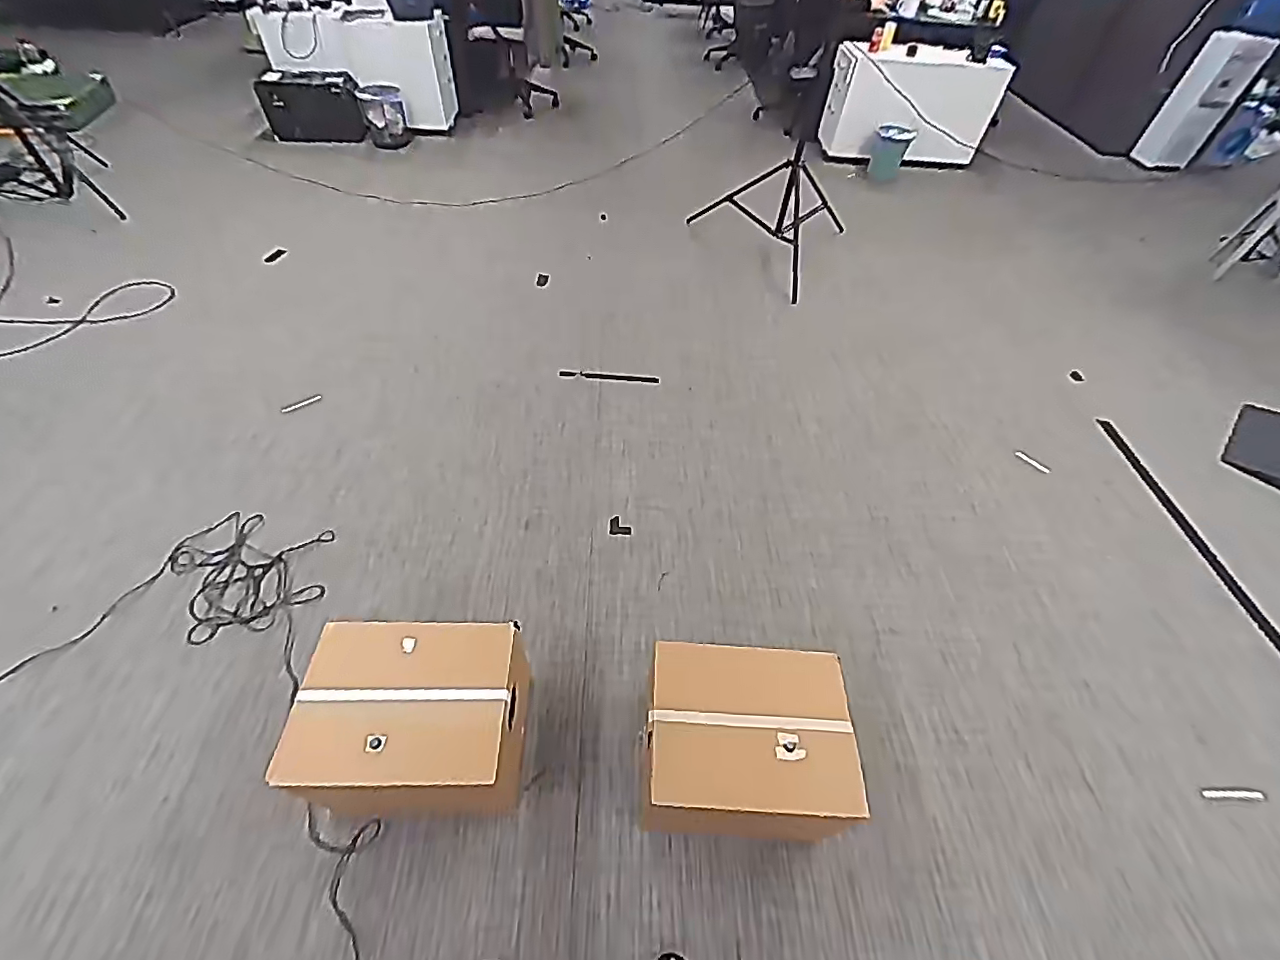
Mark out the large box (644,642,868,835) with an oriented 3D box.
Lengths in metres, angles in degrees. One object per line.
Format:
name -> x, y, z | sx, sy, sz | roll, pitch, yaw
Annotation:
large box -> 0.220, 0.581, 1.203 | 0.408, 0.320, 0.320 | 5, 50, -1
